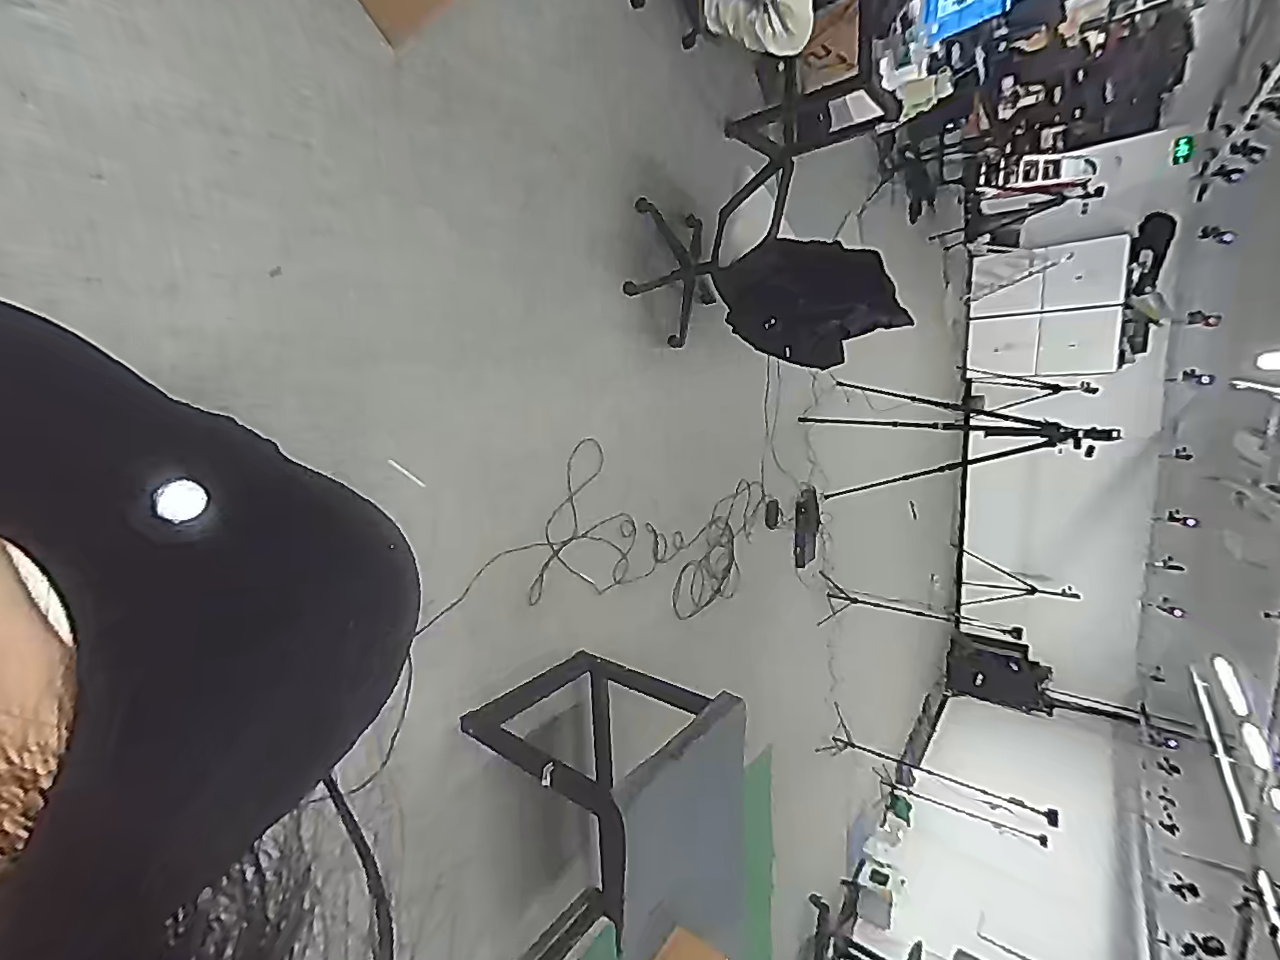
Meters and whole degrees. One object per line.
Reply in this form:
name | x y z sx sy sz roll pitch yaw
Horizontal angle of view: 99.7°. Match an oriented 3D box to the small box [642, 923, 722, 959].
small box | 0.111 1.364 1.470 0.168 0.176 0.179 -15 106 -51
